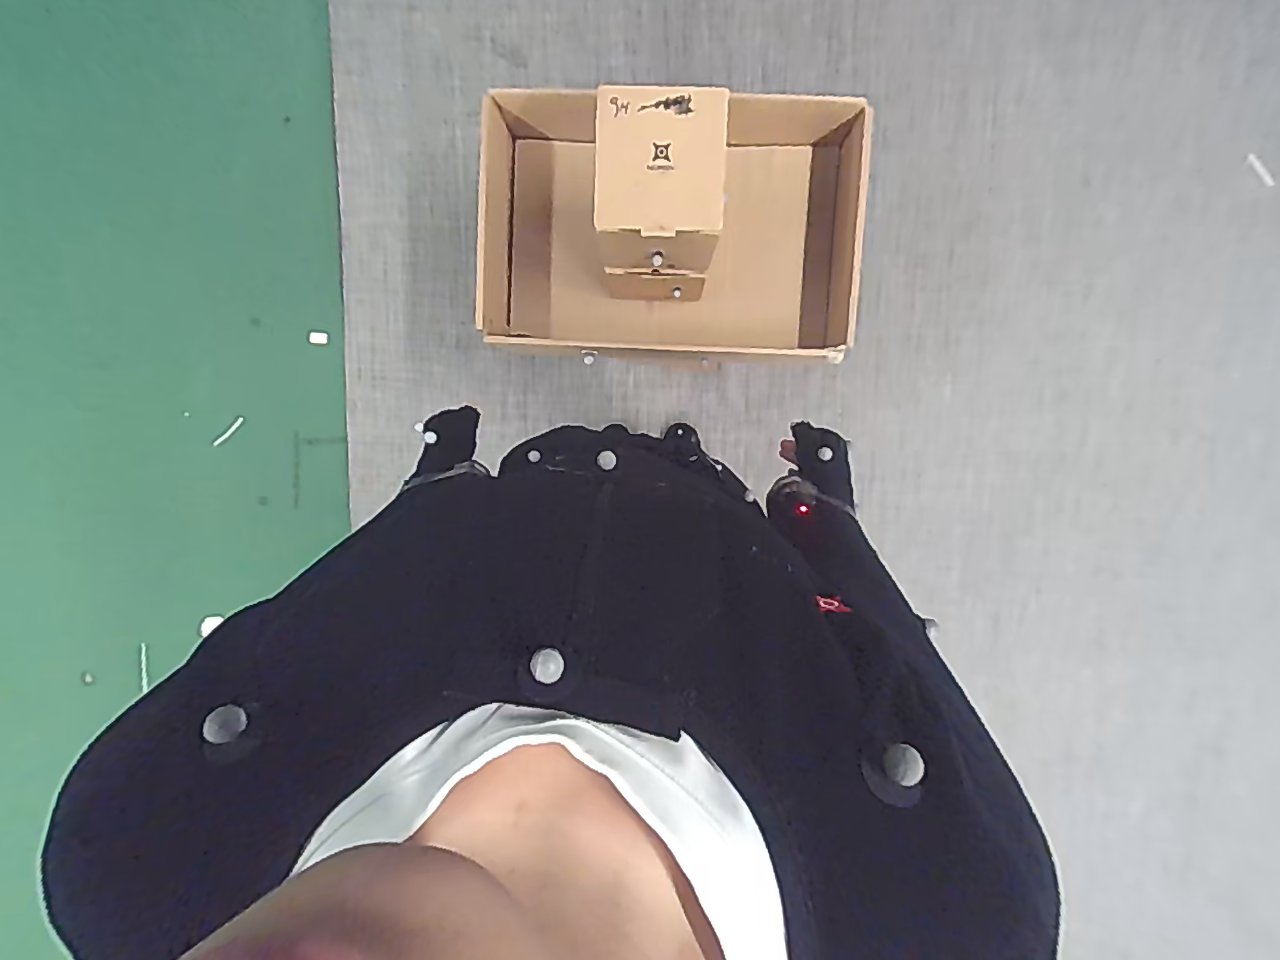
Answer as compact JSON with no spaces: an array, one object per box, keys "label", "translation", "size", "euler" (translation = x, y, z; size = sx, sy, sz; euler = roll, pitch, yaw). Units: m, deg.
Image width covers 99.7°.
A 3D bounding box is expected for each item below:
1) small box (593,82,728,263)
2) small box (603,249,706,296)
[{"label":"small box","translation":[0.027,-0.415,0.760],"size":[0.168,0.176,0.179],"euler":[2,97,1]},{"label":"small box","translation":[0.030,-0.422,0.924],"size":[0.168,0.176,0.179],"euler":[2,94,1]}]
